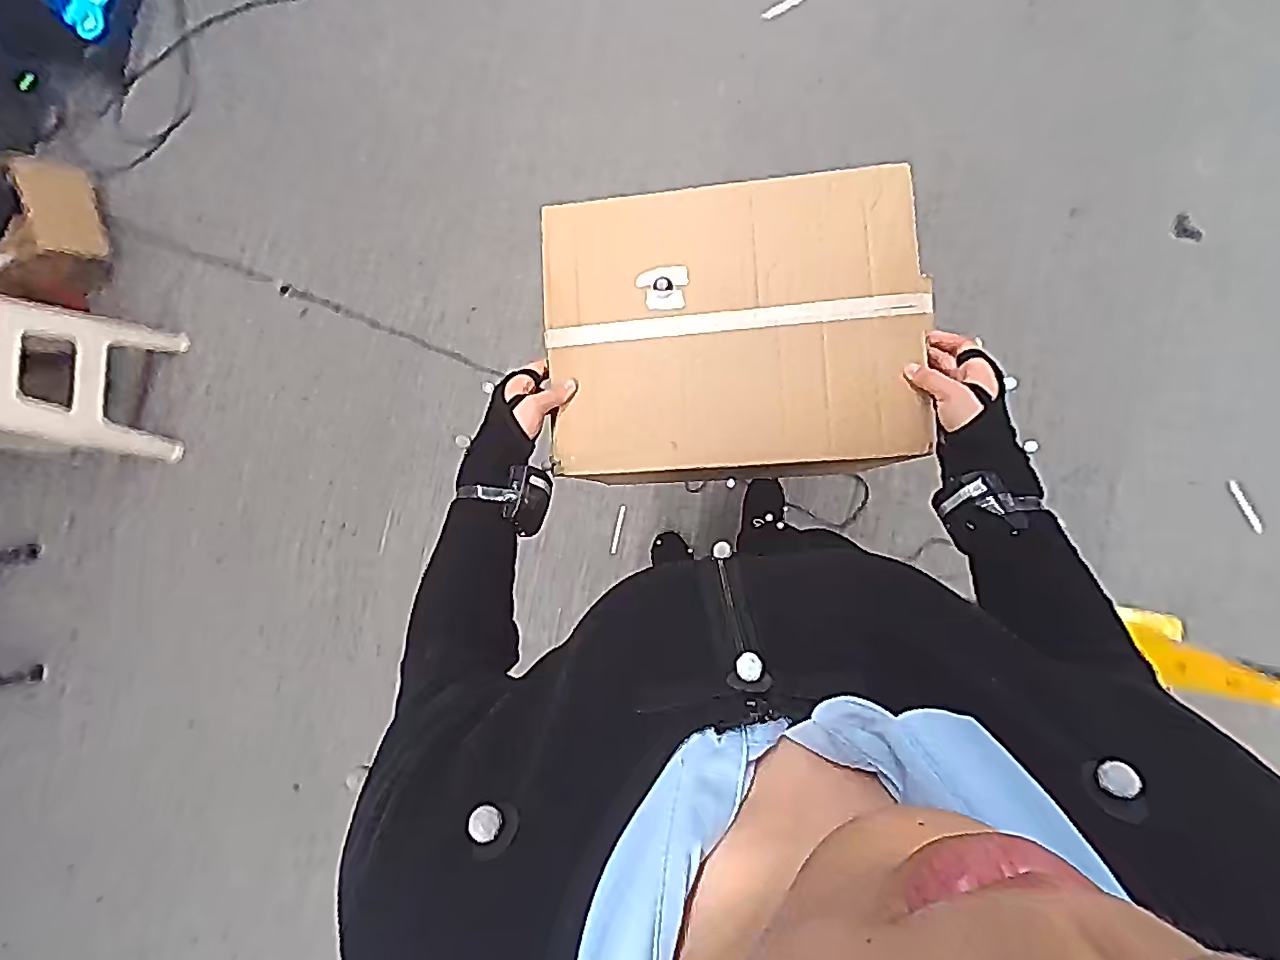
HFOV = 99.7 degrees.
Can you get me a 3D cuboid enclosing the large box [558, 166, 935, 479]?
[{"bbox_3d":[0.129,-0.167,0.744,0.408,0.320,0.320,-2,86,9],"label":"large box"}]
